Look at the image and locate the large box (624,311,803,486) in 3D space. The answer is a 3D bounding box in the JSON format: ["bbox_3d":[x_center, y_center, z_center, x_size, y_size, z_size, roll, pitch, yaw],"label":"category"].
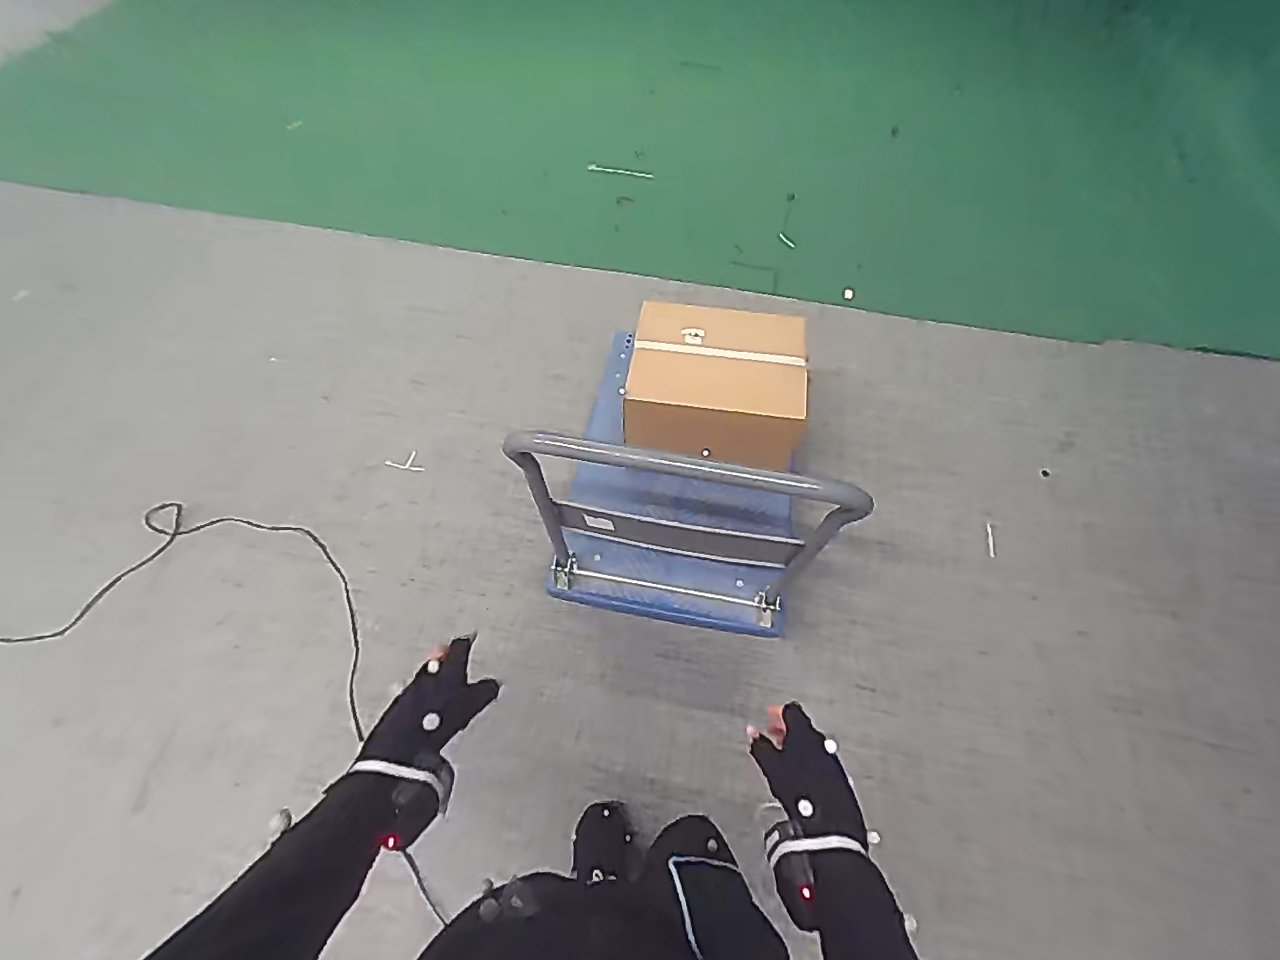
[{"bbox_3d":[0.181,-0.201,1.398,0.408,0.320,0.320,6,60,4],"label":"large box"}]
